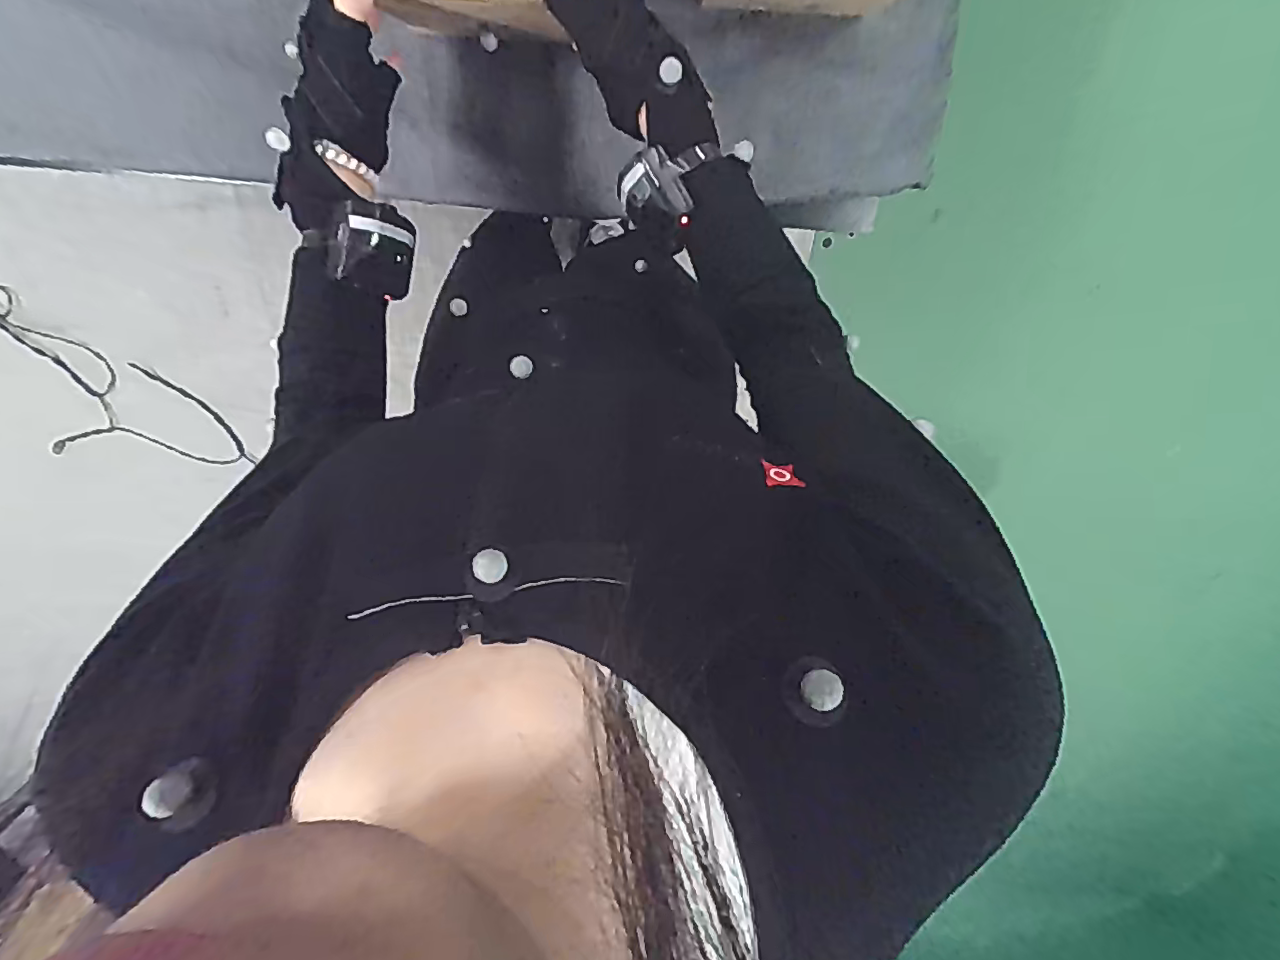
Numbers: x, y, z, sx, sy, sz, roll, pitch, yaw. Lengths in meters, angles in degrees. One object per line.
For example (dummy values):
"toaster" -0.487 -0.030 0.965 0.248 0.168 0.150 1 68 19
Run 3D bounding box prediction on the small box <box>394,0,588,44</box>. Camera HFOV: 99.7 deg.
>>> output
"small box" -0.124 -0.459 0.403 0.168 0.176 0.179 2 120 -3
